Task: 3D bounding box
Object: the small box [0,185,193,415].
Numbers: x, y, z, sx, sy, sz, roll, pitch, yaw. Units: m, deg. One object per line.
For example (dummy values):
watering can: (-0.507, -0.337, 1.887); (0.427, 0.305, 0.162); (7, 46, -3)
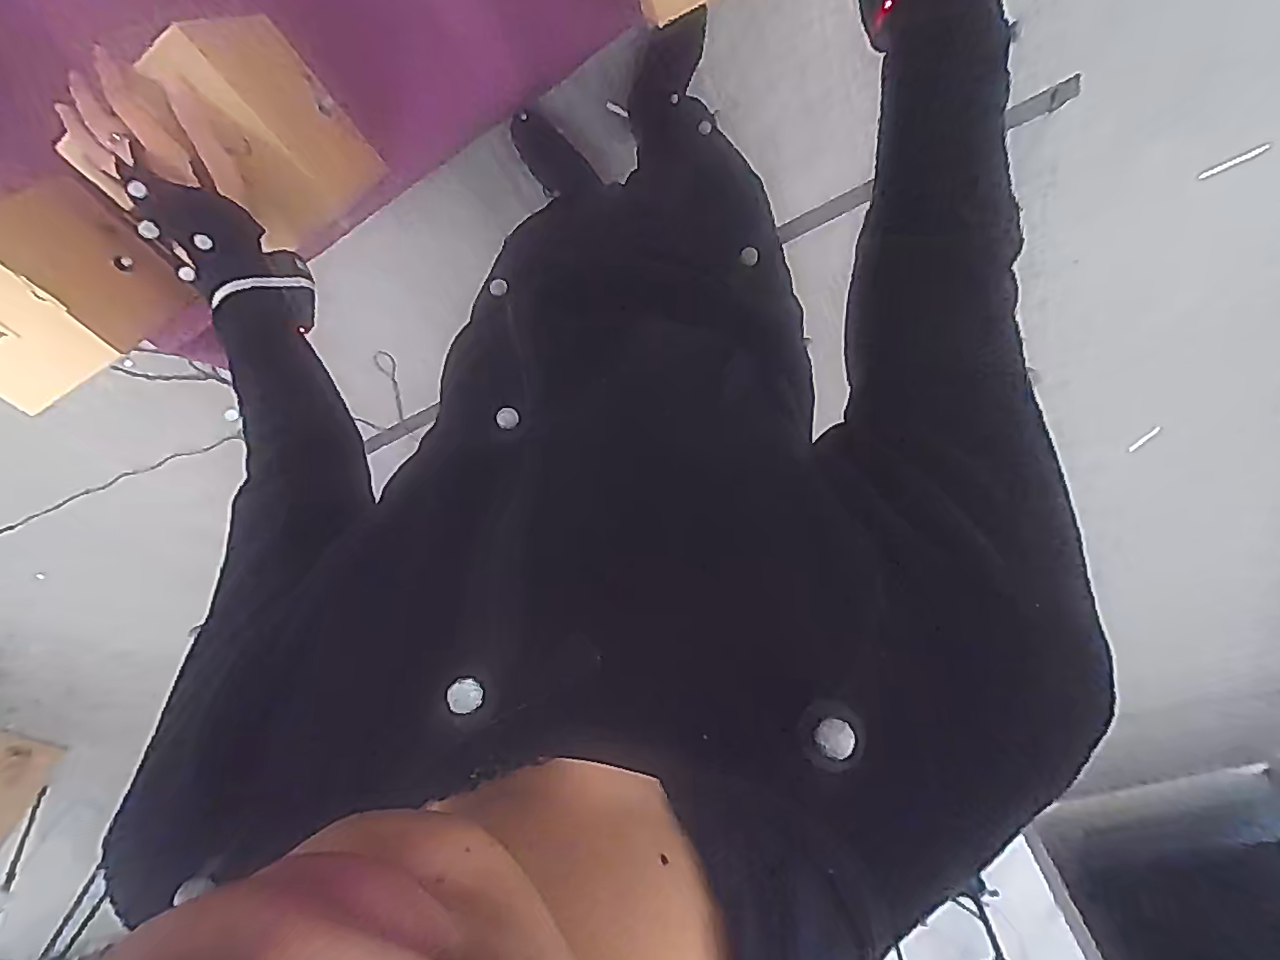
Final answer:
small box: (-0.698, -0.214, 0.645); (0.179, 0.176, 0.168); (-24, 130, 15)
